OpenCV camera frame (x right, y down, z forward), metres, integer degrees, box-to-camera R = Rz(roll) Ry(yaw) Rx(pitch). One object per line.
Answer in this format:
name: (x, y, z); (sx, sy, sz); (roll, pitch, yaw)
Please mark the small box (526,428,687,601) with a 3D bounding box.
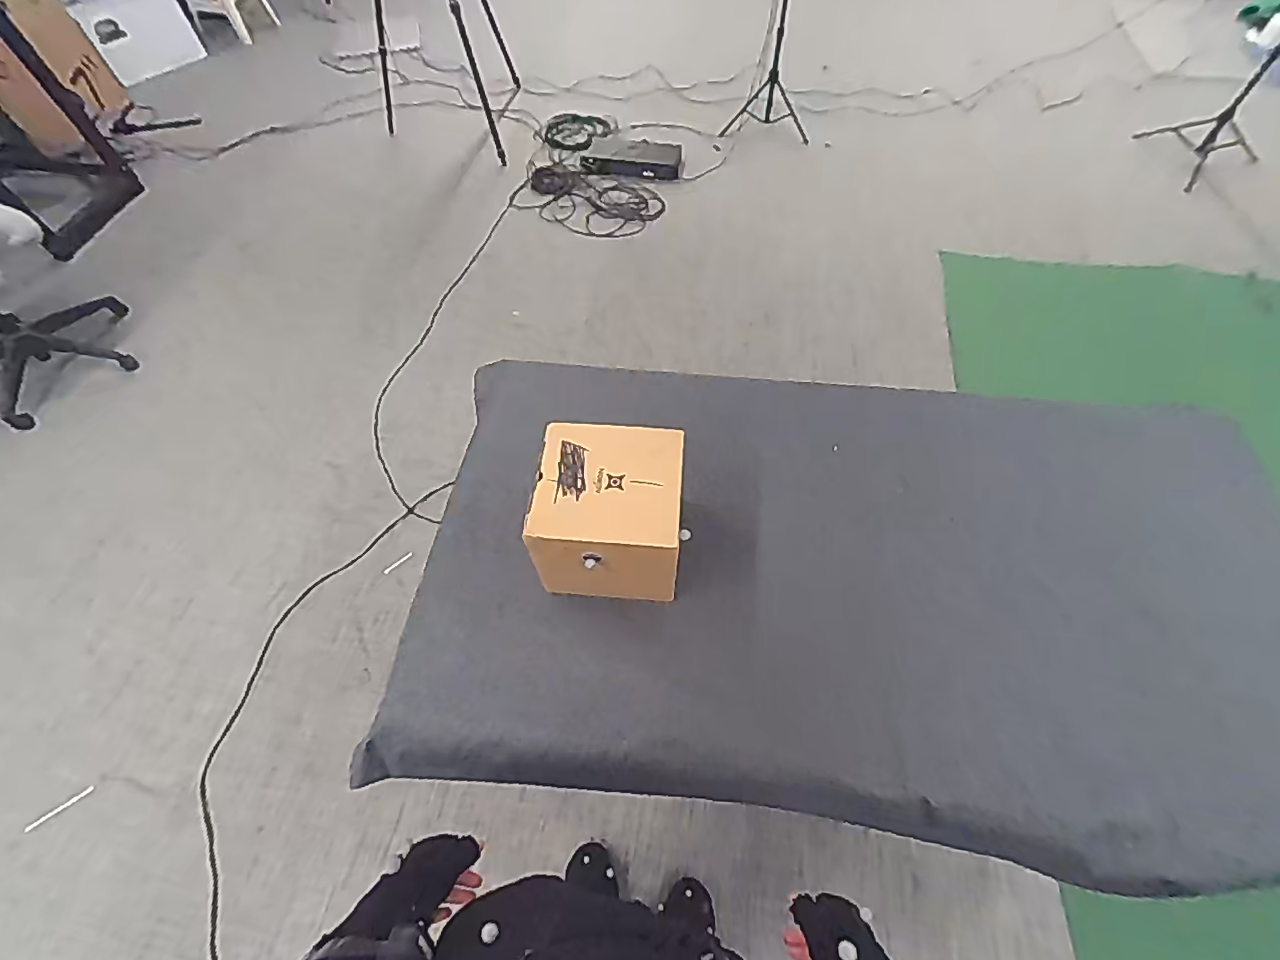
small box: (-0.034, 0.050, 0.713); (0.179, 0.176, 0.168); (5, 58, 3)
